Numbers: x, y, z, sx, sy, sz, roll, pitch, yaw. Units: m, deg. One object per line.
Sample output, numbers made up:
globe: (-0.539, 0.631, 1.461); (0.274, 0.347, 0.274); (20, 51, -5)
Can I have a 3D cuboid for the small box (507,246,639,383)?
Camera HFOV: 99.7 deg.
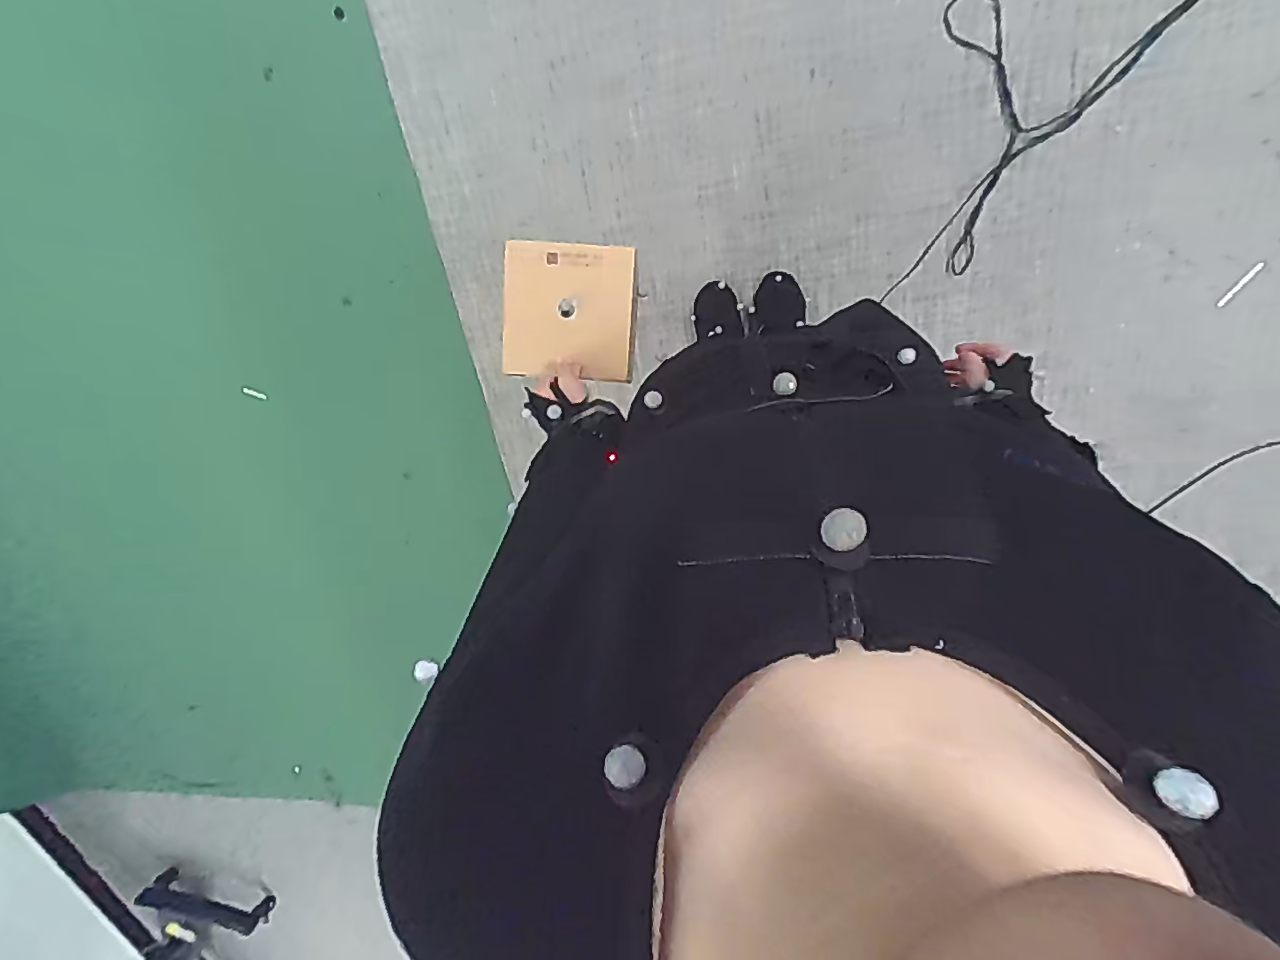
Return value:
small box: (-0.088, -0.228, 0.768); (0.168, 0.179, 0.176); (3, 103, 2)
